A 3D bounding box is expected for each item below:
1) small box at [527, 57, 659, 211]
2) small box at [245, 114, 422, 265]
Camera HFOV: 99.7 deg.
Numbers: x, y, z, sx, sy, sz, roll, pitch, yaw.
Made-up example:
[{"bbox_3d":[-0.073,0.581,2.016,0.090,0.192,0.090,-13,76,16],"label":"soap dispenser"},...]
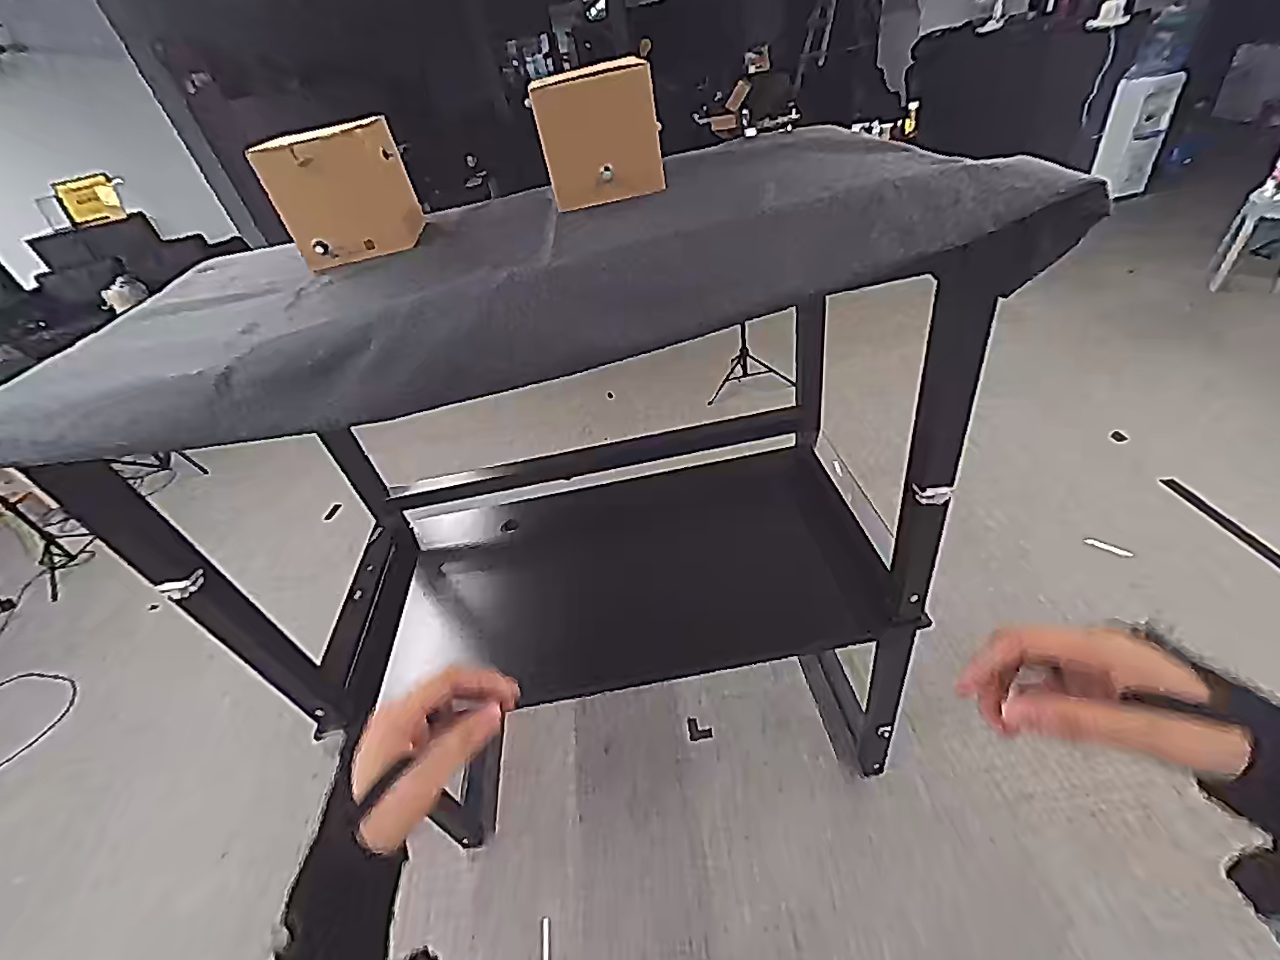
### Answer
[{"bbox_3d":[-0.068,-0.549,0.859,0.179,0.176,0.168,-12,39,1],"label":"small box"},{"bbox_3d":[-0.466,-0.458,0.859,0.168,0.176,0.179,-14,39,-2],"label":"small box"}]
